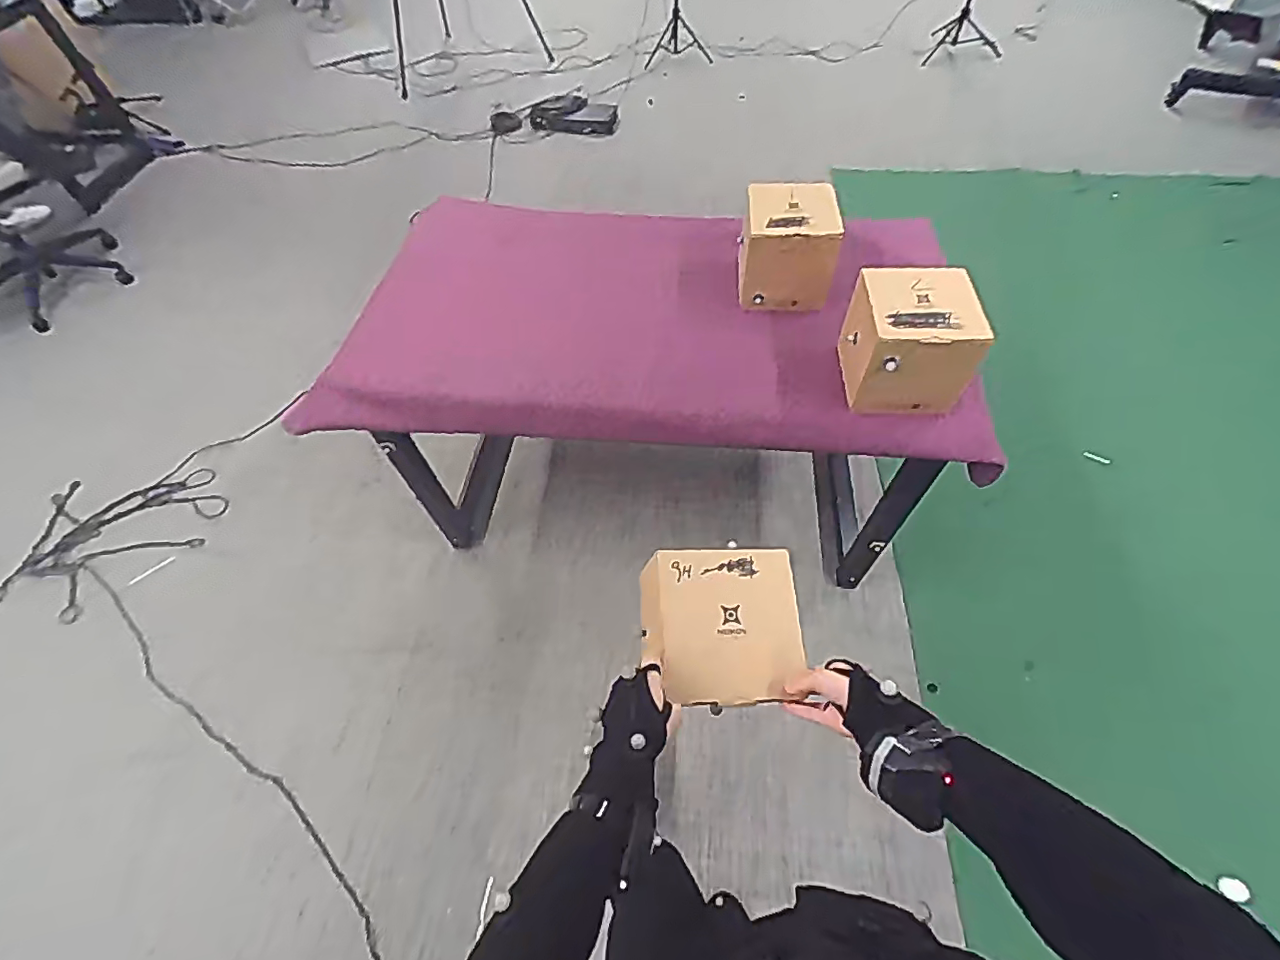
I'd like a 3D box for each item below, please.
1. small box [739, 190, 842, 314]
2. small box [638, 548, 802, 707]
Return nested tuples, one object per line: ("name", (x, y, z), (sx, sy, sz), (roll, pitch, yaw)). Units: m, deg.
("small box", (0.289, -0.447, 1.072), (0.168, 0.176, 0.179), (3, 55, 4))
("small box", (0.090, 0.189, 0.694), (0.168, 0.176, 0.179), (1, 70, -8))
